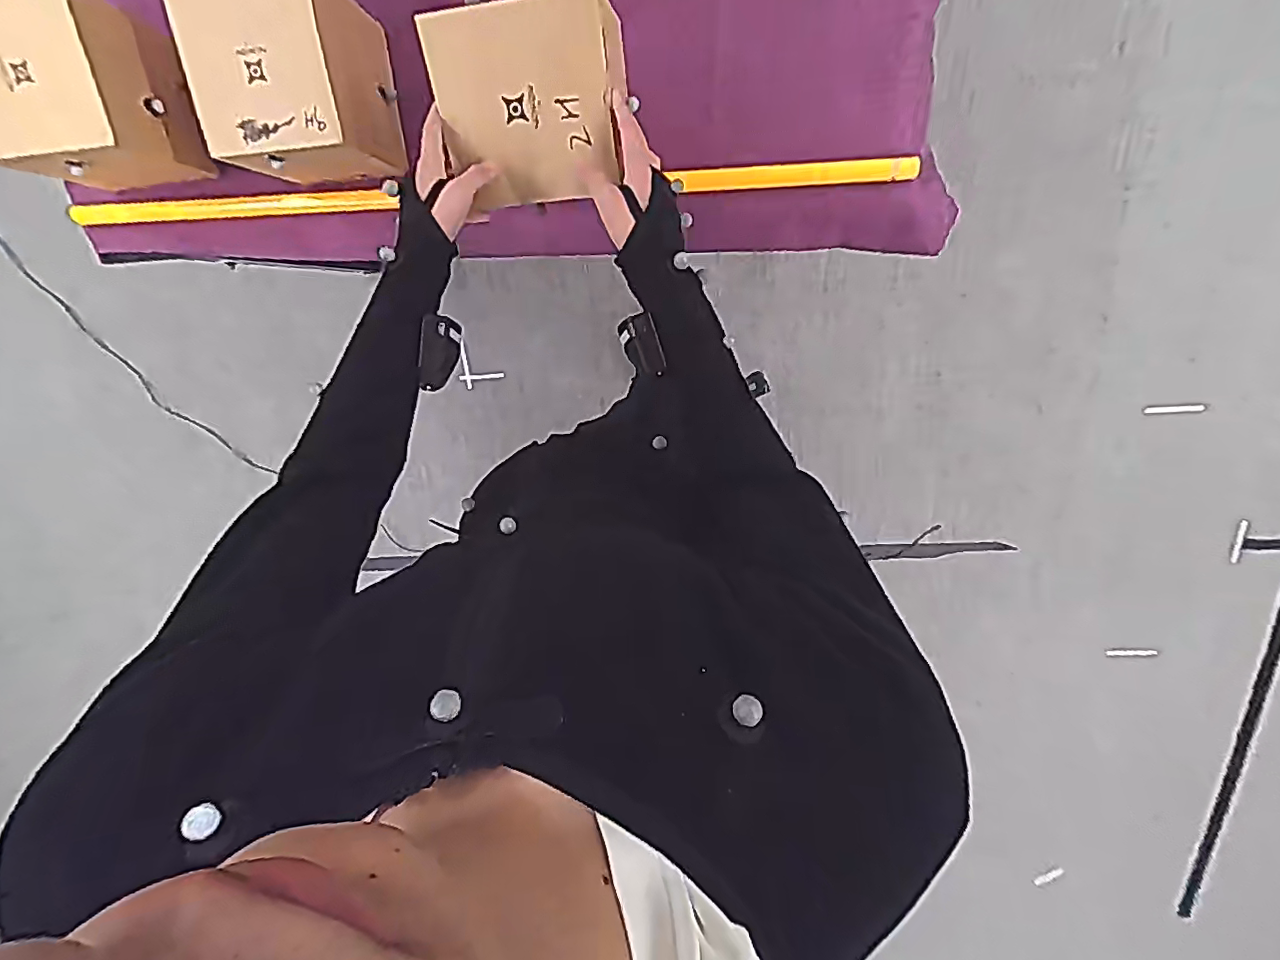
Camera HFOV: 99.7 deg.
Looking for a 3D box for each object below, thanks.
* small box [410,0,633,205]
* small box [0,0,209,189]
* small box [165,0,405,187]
[{"bbox_3d":[-0.109,-0.402,0.586,0.179,0.176,0.168,-3,121,7],"label":"small box"},{"bbox_3d":[-0.698,-0.481,0.684,0.179,0.176,0.168,-4,108,4],"label":"small box"},{"bbox_3d":[-0.418,-0.481,0.666,0.168,0.176,0.179,-2,108,5],"label":"small box"}]
